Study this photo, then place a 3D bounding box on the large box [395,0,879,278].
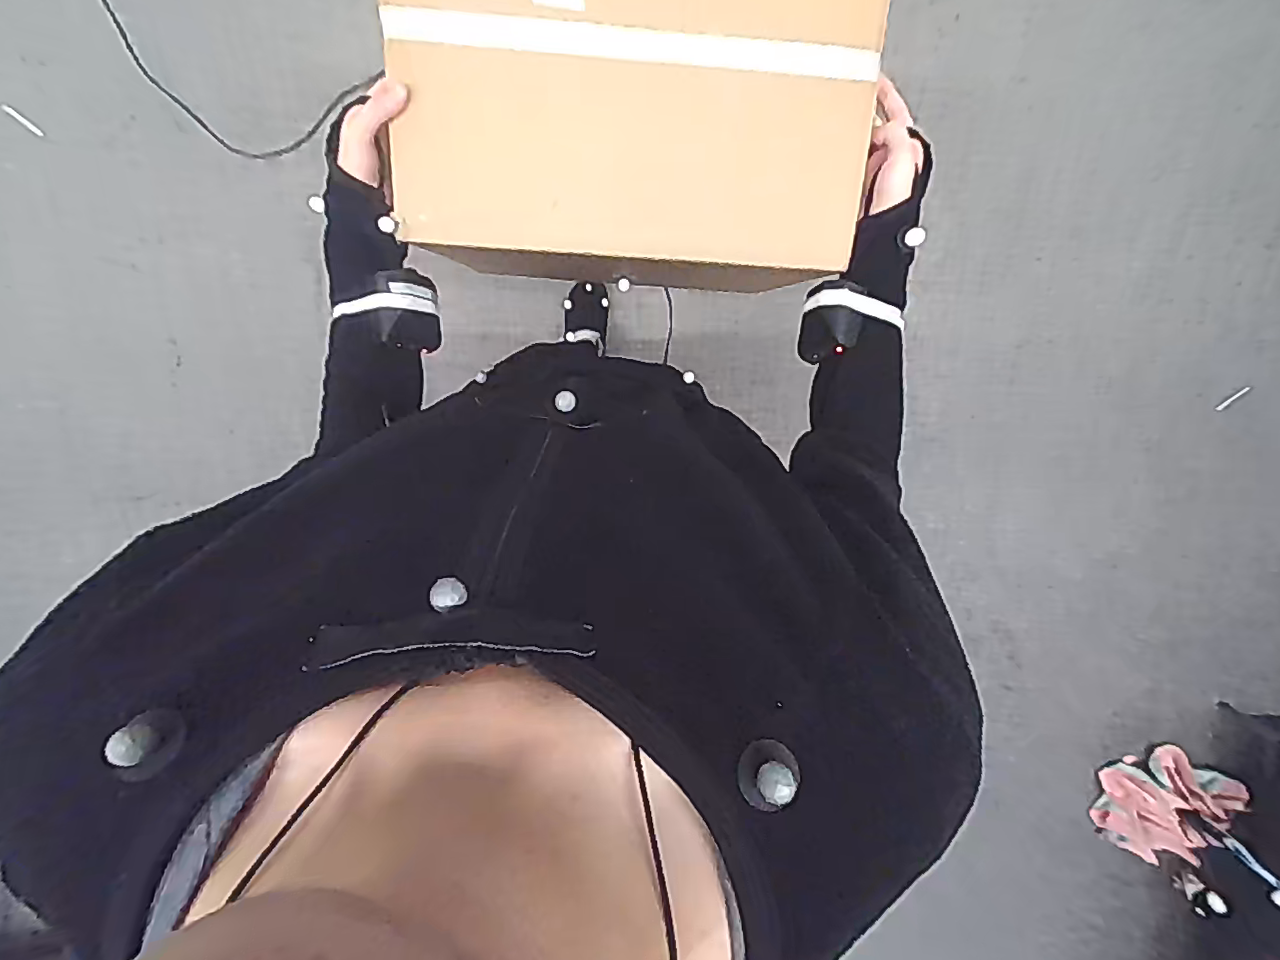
[{"bbox_3d":[-0.007,-0.402,0.594,0.408,0.320,0.320,3,105,-3],"label":"large box"}]
